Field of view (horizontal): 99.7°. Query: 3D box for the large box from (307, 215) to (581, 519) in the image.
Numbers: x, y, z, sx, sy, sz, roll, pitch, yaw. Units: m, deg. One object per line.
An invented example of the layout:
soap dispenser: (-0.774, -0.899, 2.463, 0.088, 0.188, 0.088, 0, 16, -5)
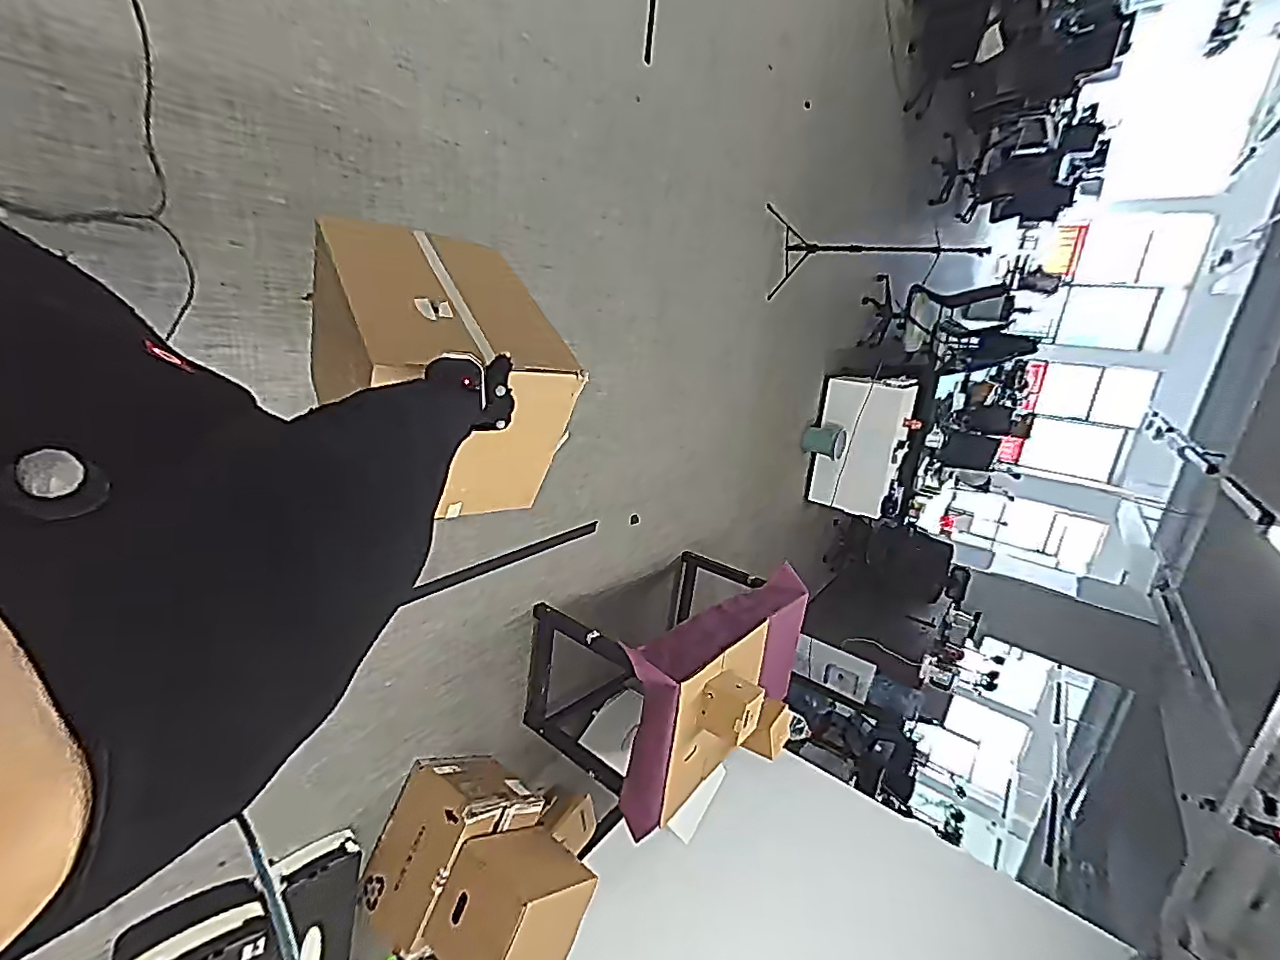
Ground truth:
large box: (-0.369, -0.191, 0.956, 0.320, 0.408, 0.320, -6, 141, -39)
